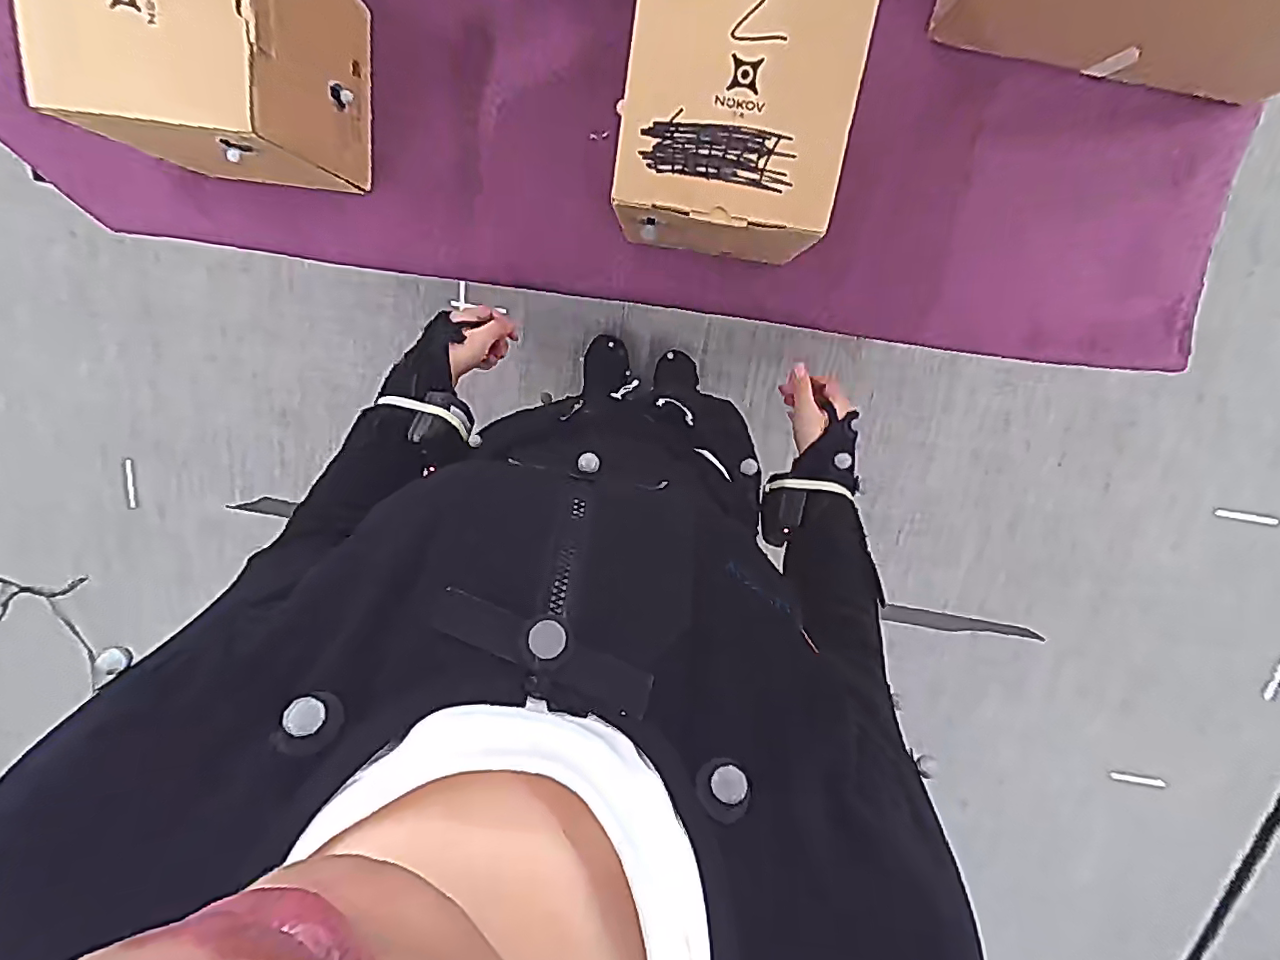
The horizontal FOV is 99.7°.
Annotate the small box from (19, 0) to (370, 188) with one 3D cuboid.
[{"bbox_3d":[-0.363,-0.370,0.468,0.179,0.176,0.168,6,104,0],"label":"small box"}]
